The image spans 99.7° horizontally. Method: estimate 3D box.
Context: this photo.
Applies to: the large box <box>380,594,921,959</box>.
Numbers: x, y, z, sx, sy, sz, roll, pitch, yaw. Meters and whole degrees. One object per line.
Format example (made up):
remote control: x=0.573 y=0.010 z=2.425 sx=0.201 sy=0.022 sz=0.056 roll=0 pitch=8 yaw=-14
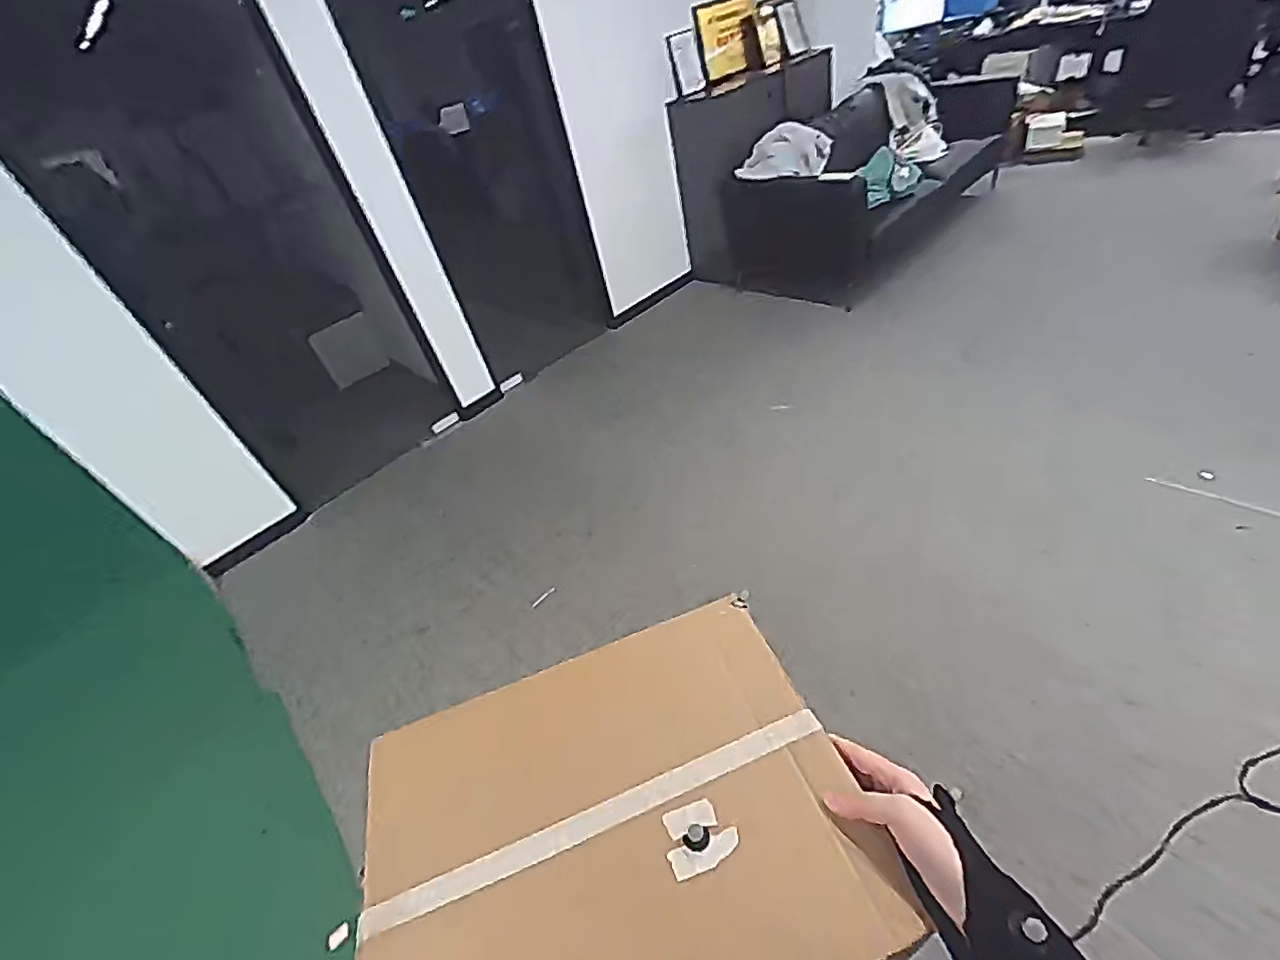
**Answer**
large box: x=-0.005 y=0.392 z=0.567 sx=0.408 sy=0.320 sz=0.320 roll=-18 pitch=42 yaw=-10
